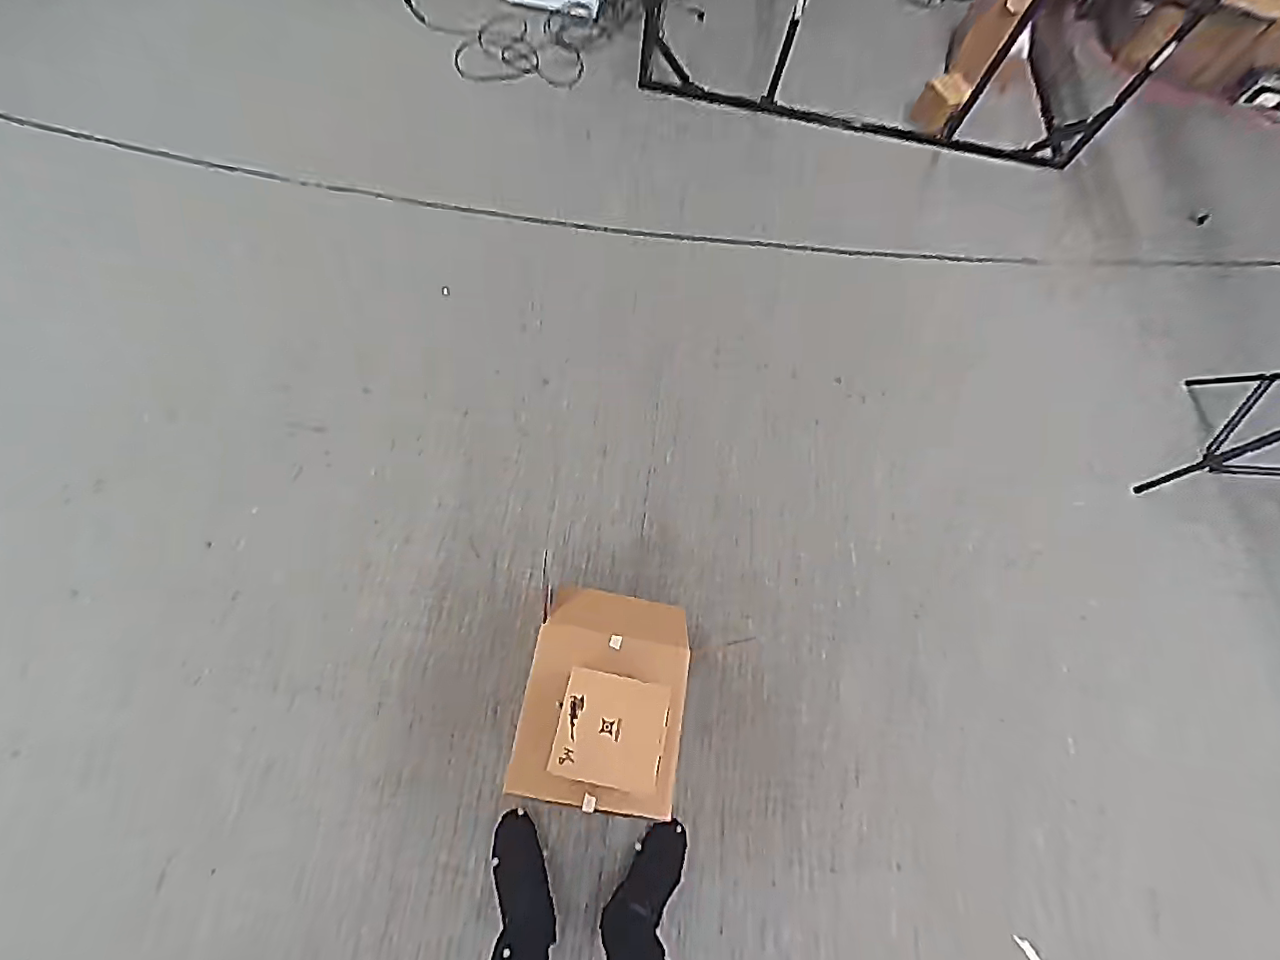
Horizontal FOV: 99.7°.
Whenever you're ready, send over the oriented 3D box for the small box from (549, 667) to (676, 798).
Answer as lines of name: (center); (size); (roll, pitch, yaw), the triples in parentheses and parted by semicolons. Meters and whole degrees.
small box: (-0.051, 0.433, 0.945); (0.179, 0.176, 0.168); (14, 67, -1)
